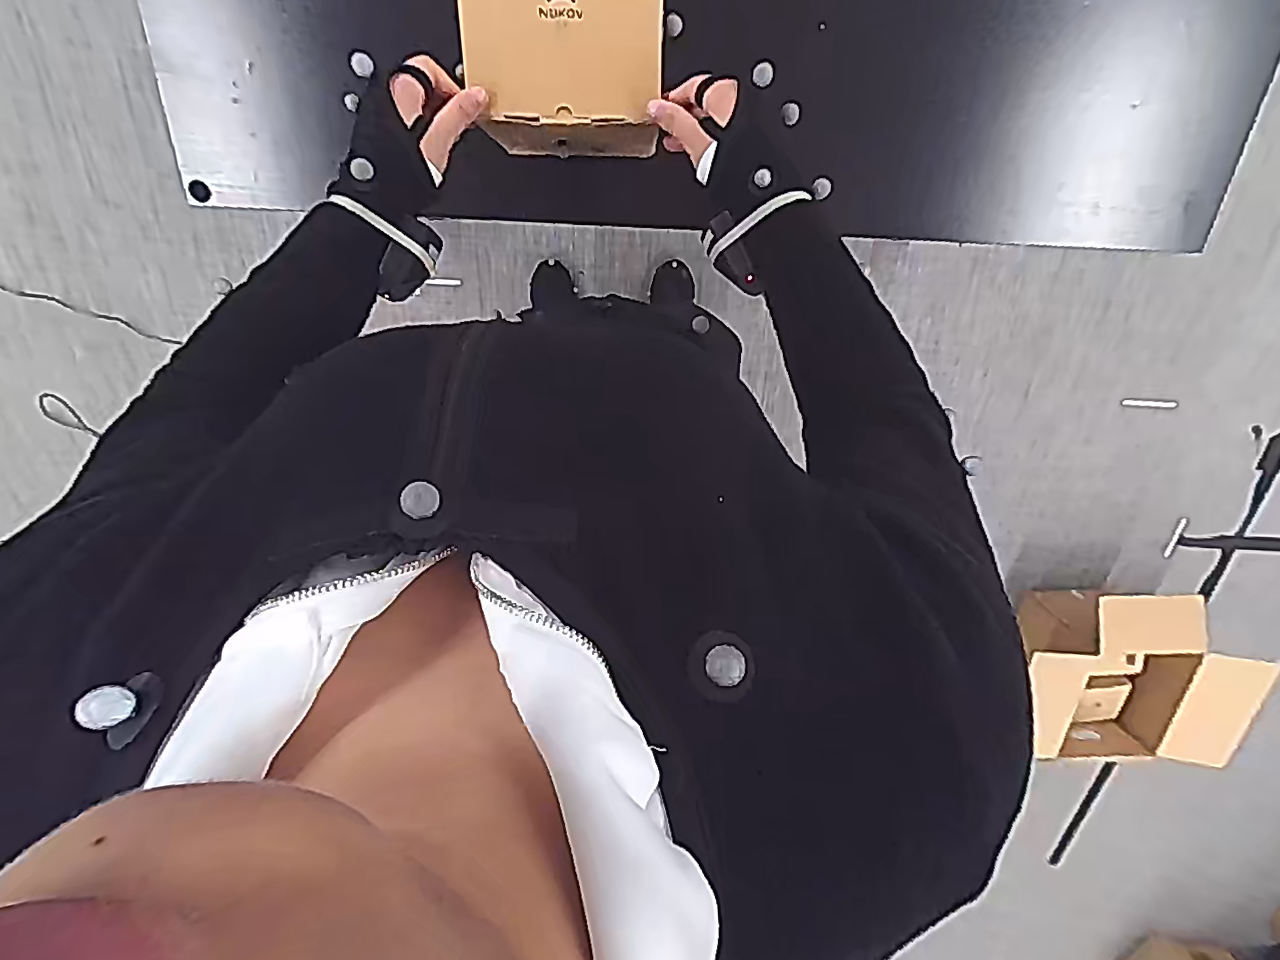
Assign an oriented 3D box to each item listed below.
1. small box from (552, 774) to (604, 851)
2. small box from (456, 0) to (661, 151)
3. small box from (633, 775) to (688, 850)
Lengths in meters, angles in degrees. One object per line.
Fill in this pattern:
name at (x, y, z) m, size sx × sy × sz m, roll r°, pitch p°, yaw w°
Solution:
small box at (-0.220, 1.189, 1.940) m, size 0.168 × 0.176 × 0.179 m, roll 6°, pitch 111°, yaw -5°
small box at (-0.068, -0.423, 0.501) m, size 0.168 × 0.176 × 0.179 m, roll 0°, pitch 114°, yaw -1°
small box at (0.070, 1.195, 1.949) m, size 0.179 × 0.176 × 0.168 m, roll 5°, pitch 111°, yaw -2°
